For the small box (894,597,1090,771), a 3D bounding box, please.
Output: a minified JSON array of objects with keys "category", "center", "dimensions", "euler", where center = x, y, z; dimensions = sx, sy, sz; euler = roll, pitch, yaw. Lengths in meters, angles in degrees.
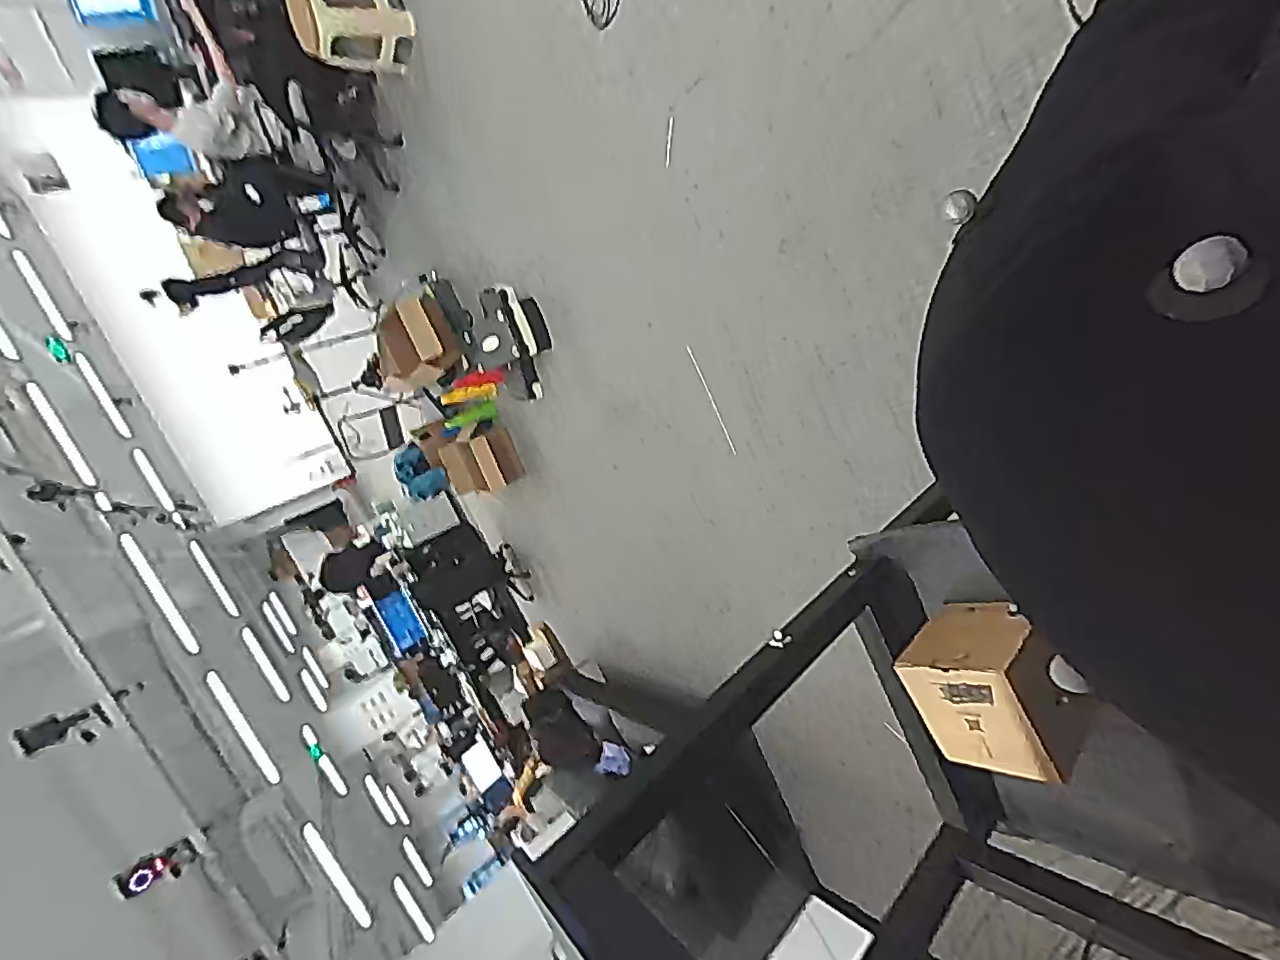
[{"category":"small box","center":[0.529,0.289,0.814],"dimensions":[0.179,0.176,0.168],"euler":[61,149,-3]}]
